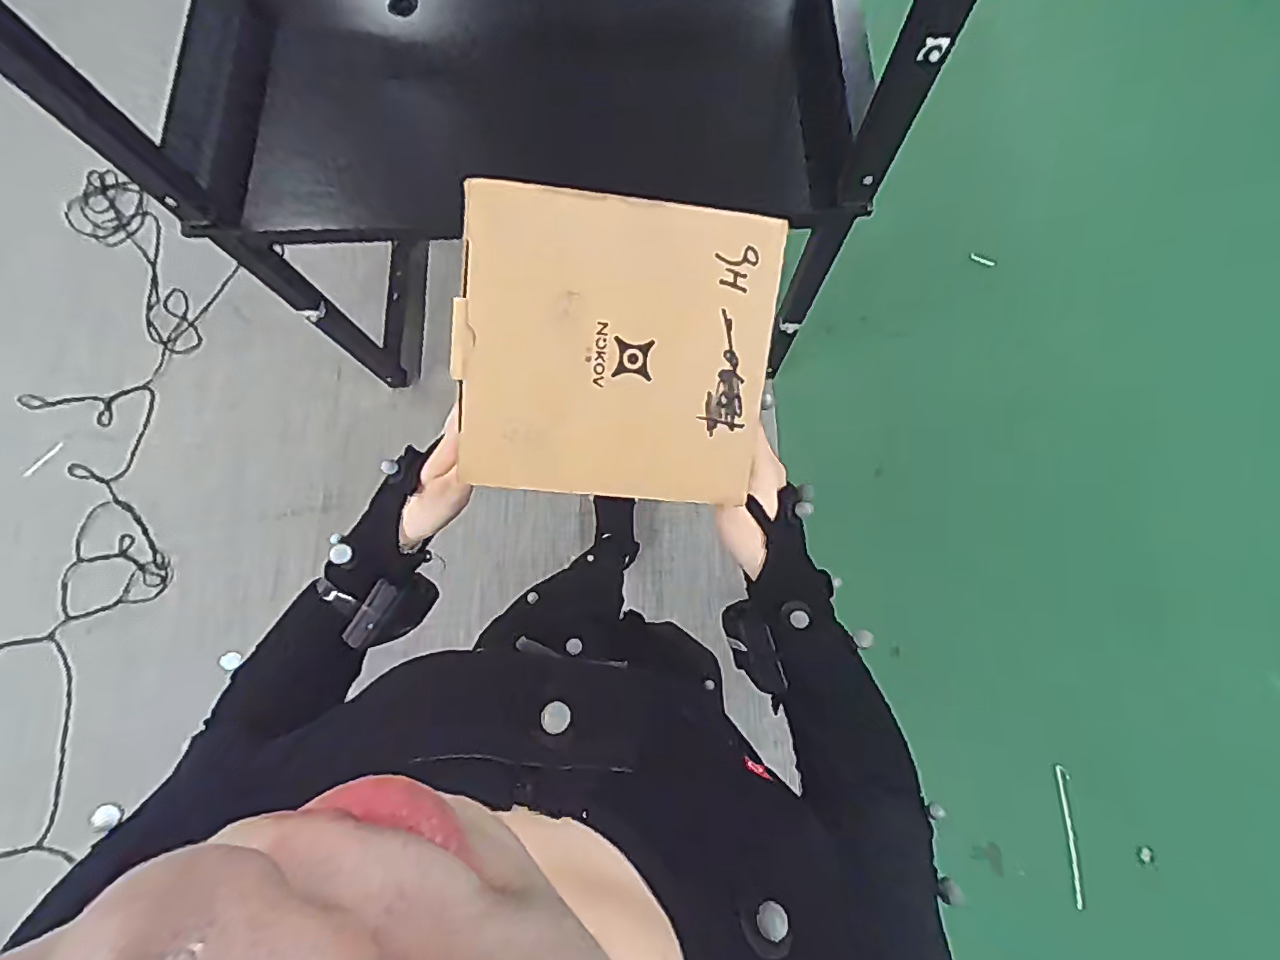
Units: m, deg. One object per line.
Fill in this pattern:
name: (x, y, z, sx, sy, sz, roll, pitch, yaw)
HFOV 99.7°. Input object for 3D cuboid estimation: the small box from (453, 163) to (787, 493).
small box: (-0.019, -0.098, 0.383, 0.179, 0.176, 0.168, 5, 105, -5)
